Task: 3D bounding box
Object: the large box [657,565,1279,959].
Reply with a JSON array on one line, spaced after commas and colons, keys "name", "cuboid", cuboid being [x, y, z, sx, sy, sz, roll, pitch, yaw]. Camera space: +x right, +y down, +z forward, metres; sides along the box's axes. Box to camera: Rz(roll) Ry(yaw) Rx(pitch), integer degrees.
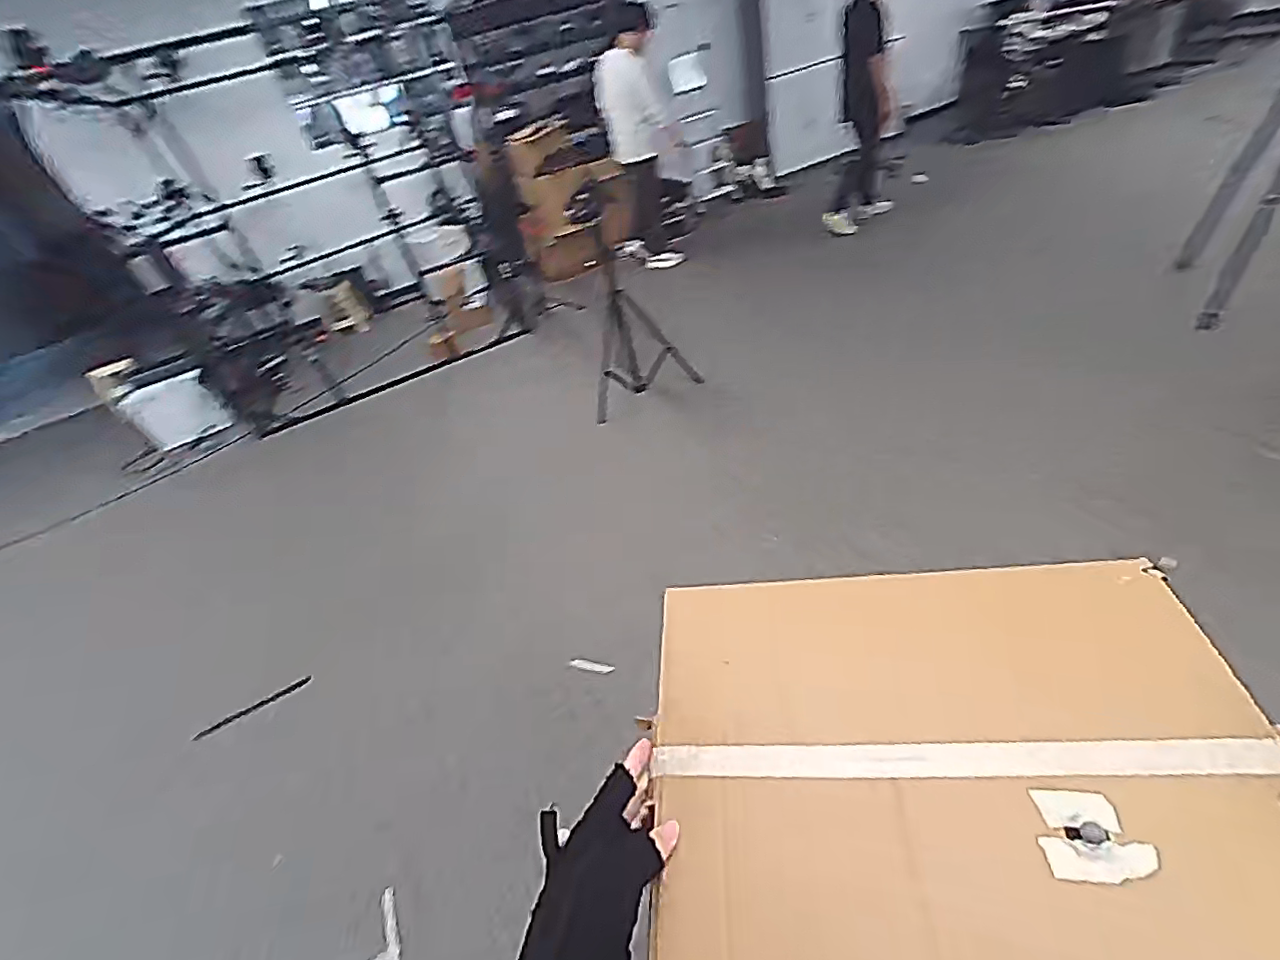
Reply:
[{"name": "large box", "cuboid": [0.235, 0.308, 0.490, 0.408, 0.320, 0.320, -6, 44, 10]}]
